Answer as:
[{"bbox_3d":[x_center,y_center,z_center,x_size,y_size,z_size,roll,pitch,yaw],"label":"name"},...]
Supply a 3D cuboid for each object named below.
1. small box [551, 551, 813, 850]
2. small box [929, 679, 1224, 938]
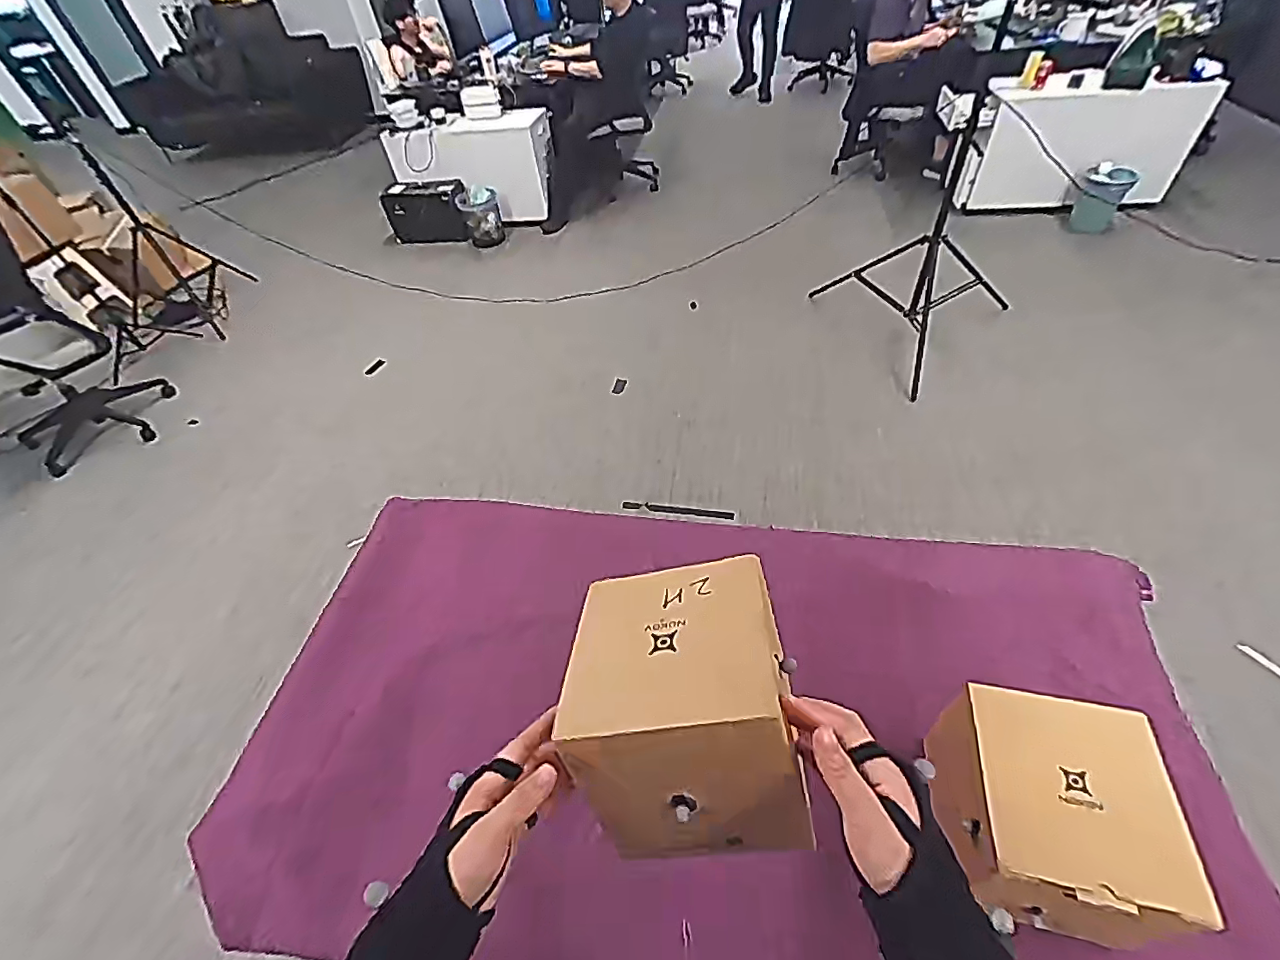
[{"bbox_3d":[0.046,0.190,0.469,0.168,0.176,0.179,-11,27,13],"label":"small box"},{"bbox_3d":[0.420,0.341,0.566,0.168,0.176,0.179,6,47,13],"label":"small box"}]
